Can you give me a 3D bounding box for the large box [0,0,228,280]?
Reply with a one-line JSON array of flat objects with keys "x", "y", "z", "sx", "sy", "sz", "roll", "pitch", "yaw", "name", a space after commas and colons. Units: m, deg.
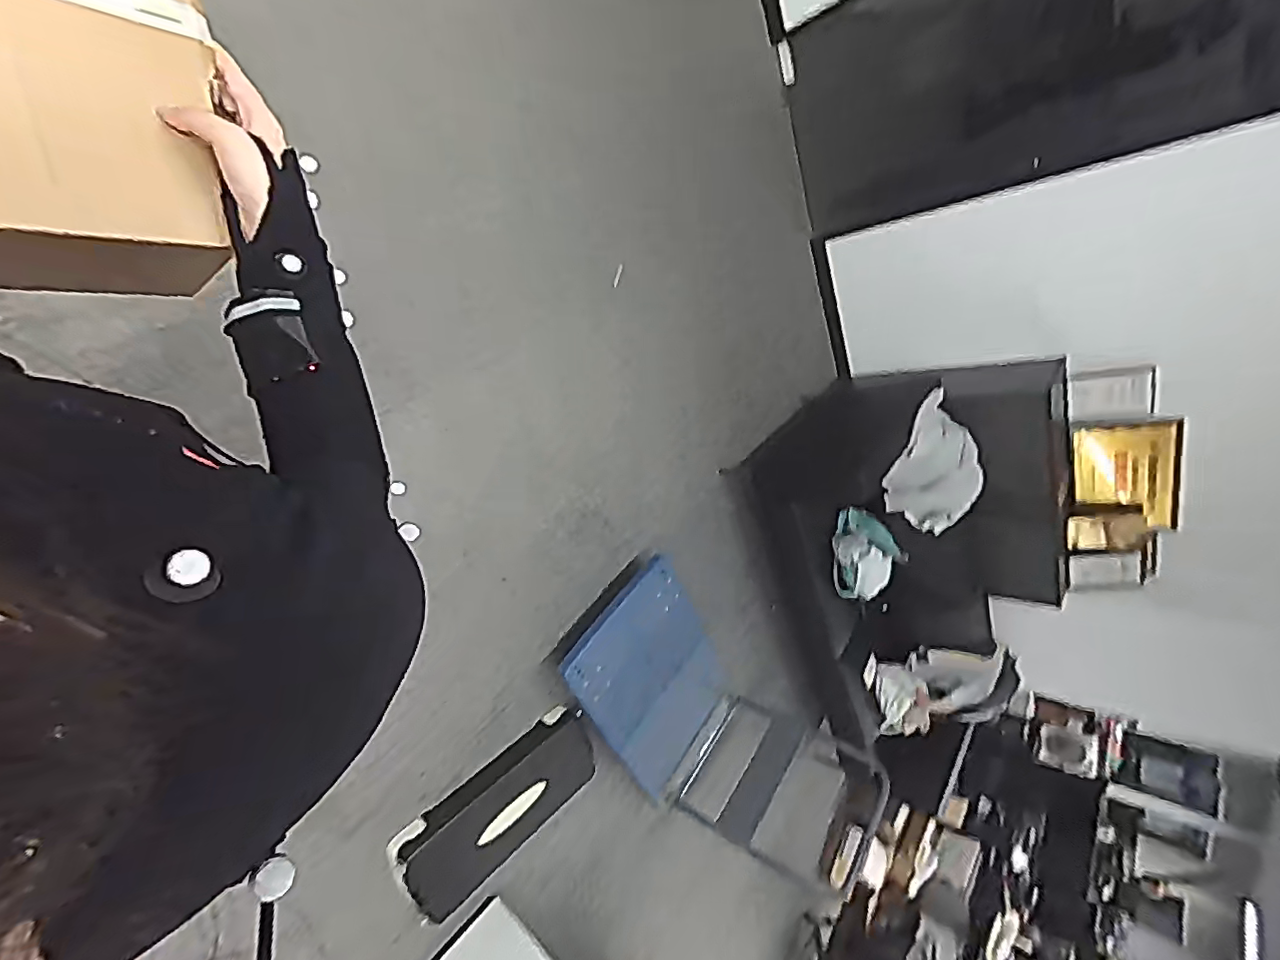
[{"x": -0.593, "y": -0.325, "z": 0.387, "sx": 0.408, "sy": 0.320, "sz": 0.320, "roll": -15, "pitch": 107, "yaw": -41, "name": "large box"}]
